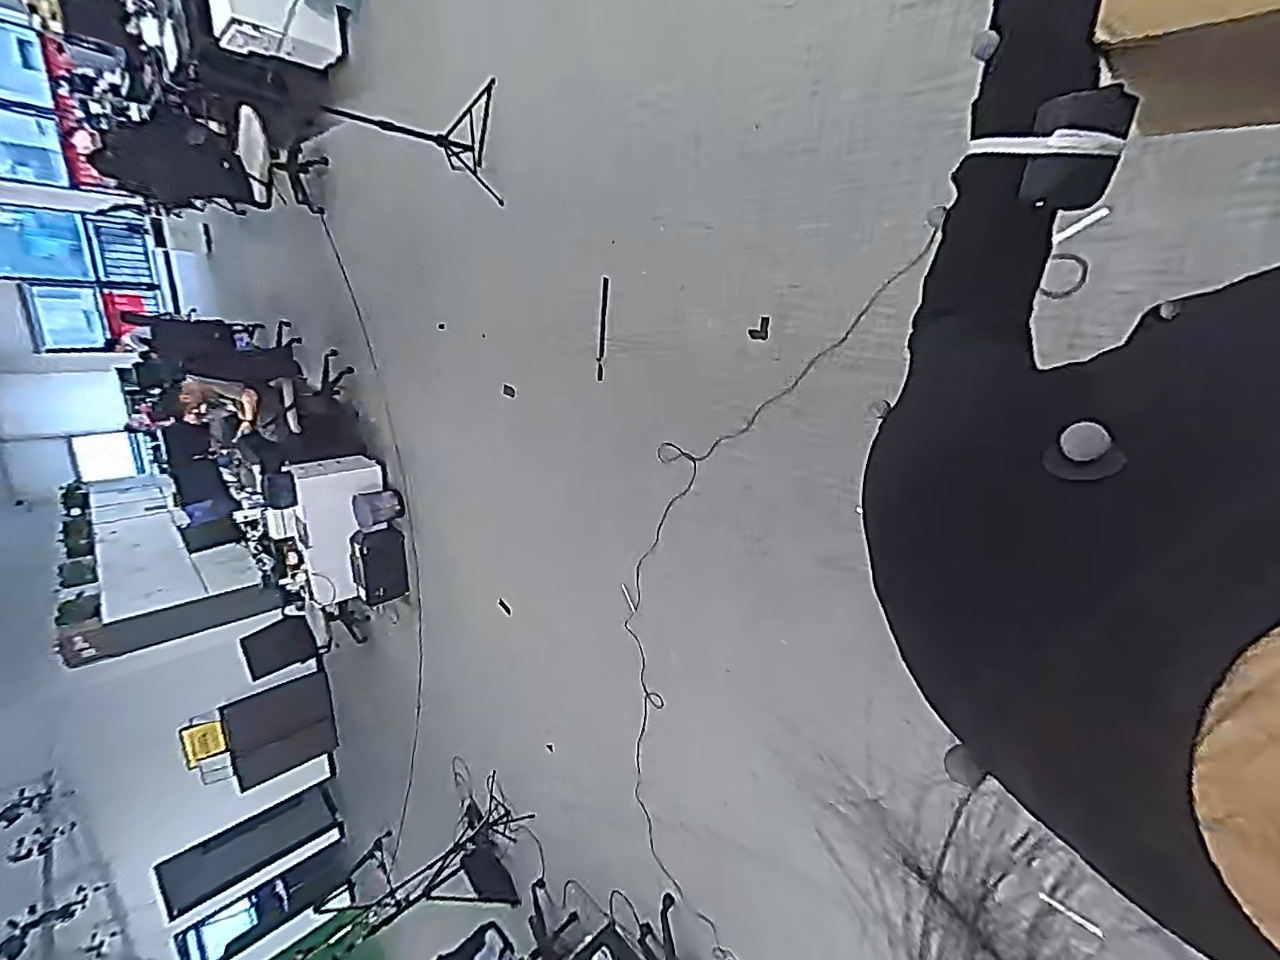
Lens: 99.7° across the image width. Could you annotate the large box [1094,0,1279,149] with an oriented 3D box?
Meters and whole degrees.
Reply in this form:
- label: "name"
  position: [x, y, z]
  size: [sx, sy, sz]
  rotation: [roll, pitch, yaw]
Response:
- label: "large box"
  position: [0.531, -0.389, 0.263]
  size: [0.408, 0.320, 0.320]
  rotation: [21, 118, 40]
